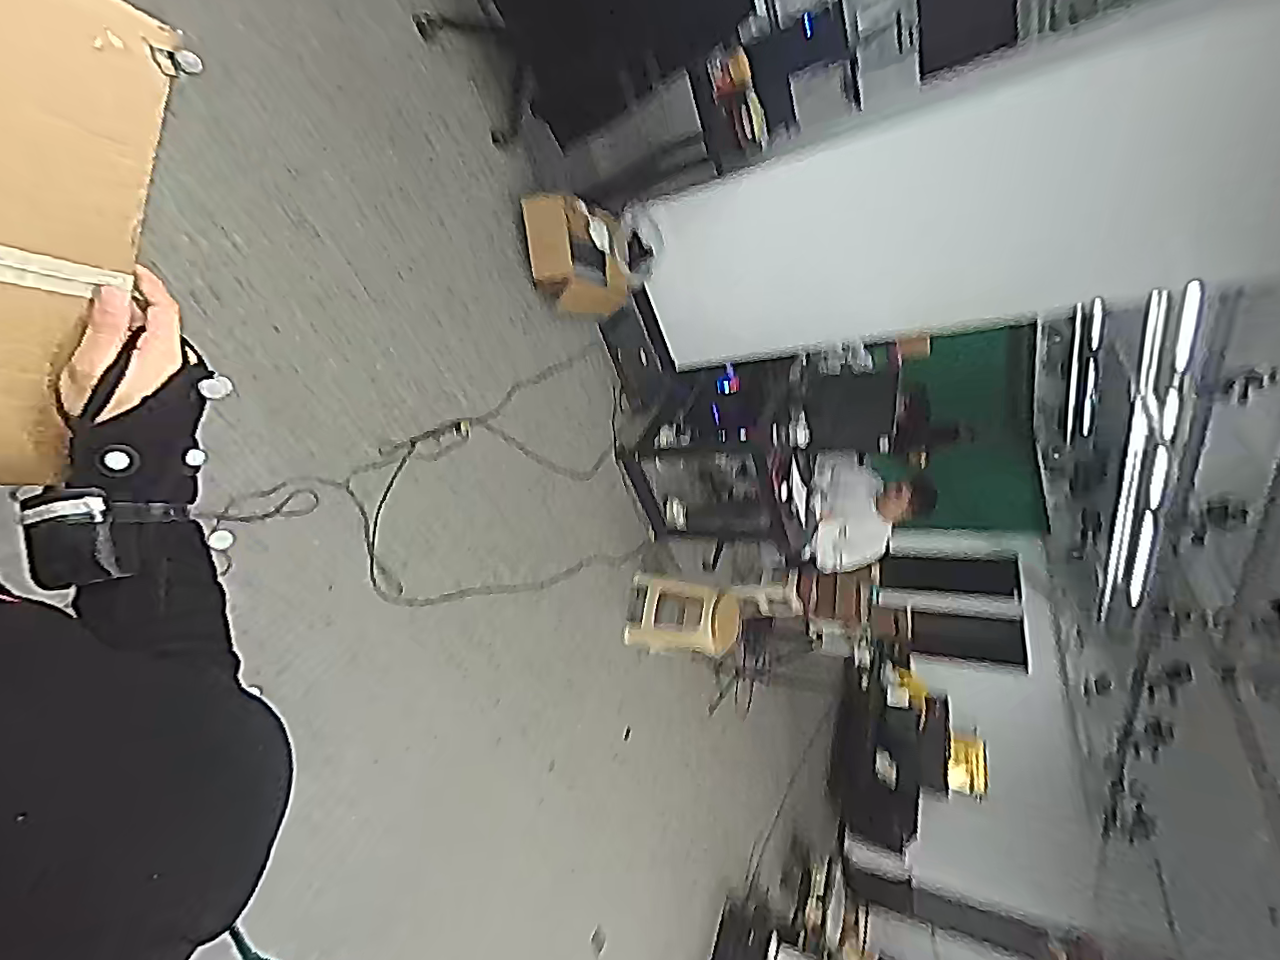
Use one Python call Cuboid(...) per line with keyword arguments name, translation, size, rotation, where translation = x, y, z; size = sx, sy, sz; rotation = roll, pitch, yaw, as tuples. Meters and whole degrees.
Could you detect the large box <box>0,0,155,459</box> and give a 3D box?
Cuboid(name="large box", translation=(-0.563, -0.217, 0.261), size=(0.408, 0.320, 0.320), rotation=(-3, 128, -58))
